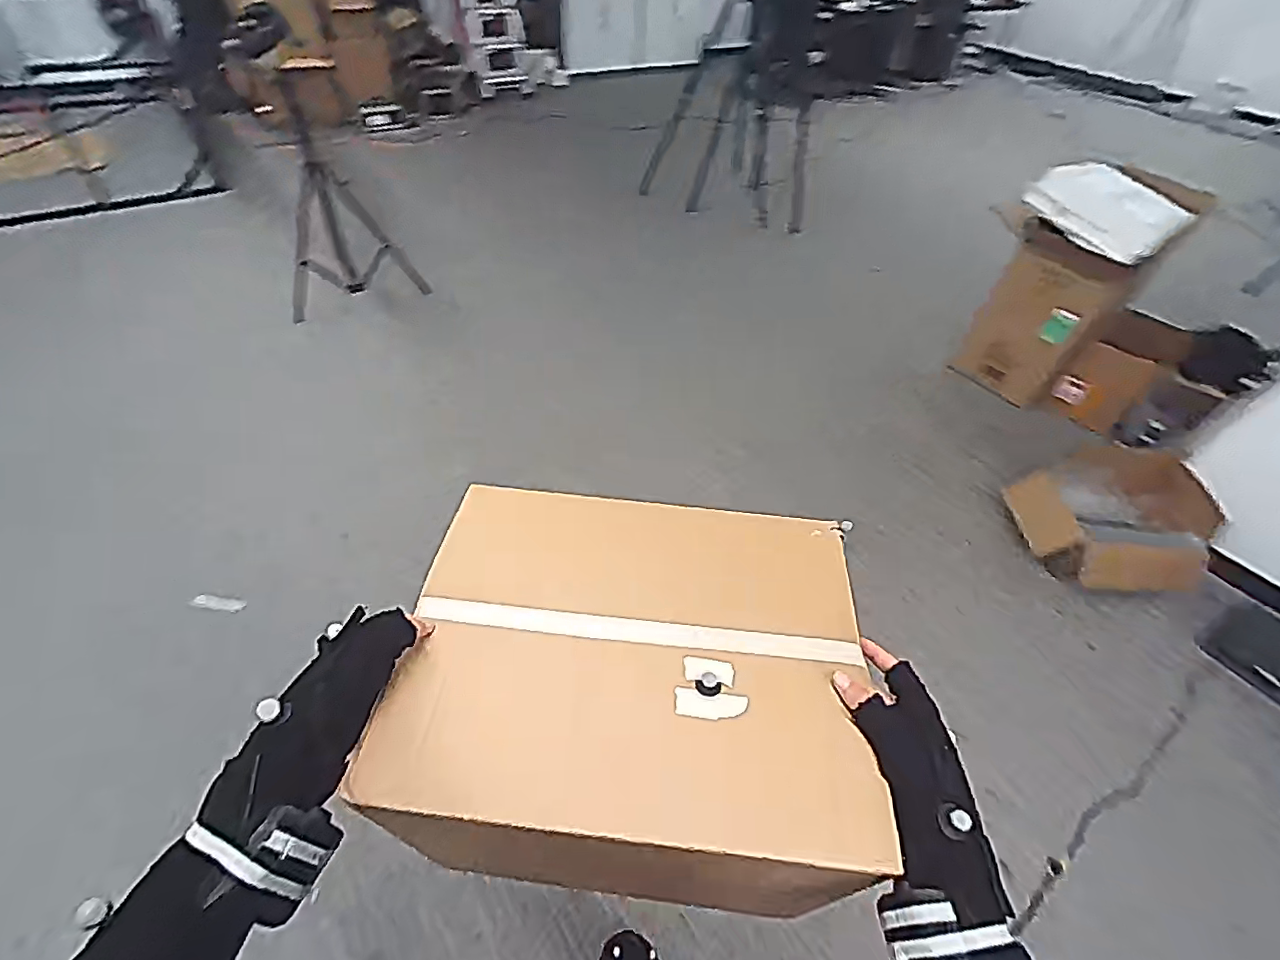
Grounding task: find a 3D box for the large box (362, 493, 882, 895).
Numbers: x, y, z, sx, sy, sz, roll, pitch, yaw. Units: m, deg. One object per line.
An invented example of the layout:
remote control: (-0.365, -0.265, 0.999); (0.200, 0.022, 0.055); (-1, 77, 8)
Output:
large box: (-0.012, 0.242, 0.613); (0.408, 0.320, 0.320); (6, 47, 2)
